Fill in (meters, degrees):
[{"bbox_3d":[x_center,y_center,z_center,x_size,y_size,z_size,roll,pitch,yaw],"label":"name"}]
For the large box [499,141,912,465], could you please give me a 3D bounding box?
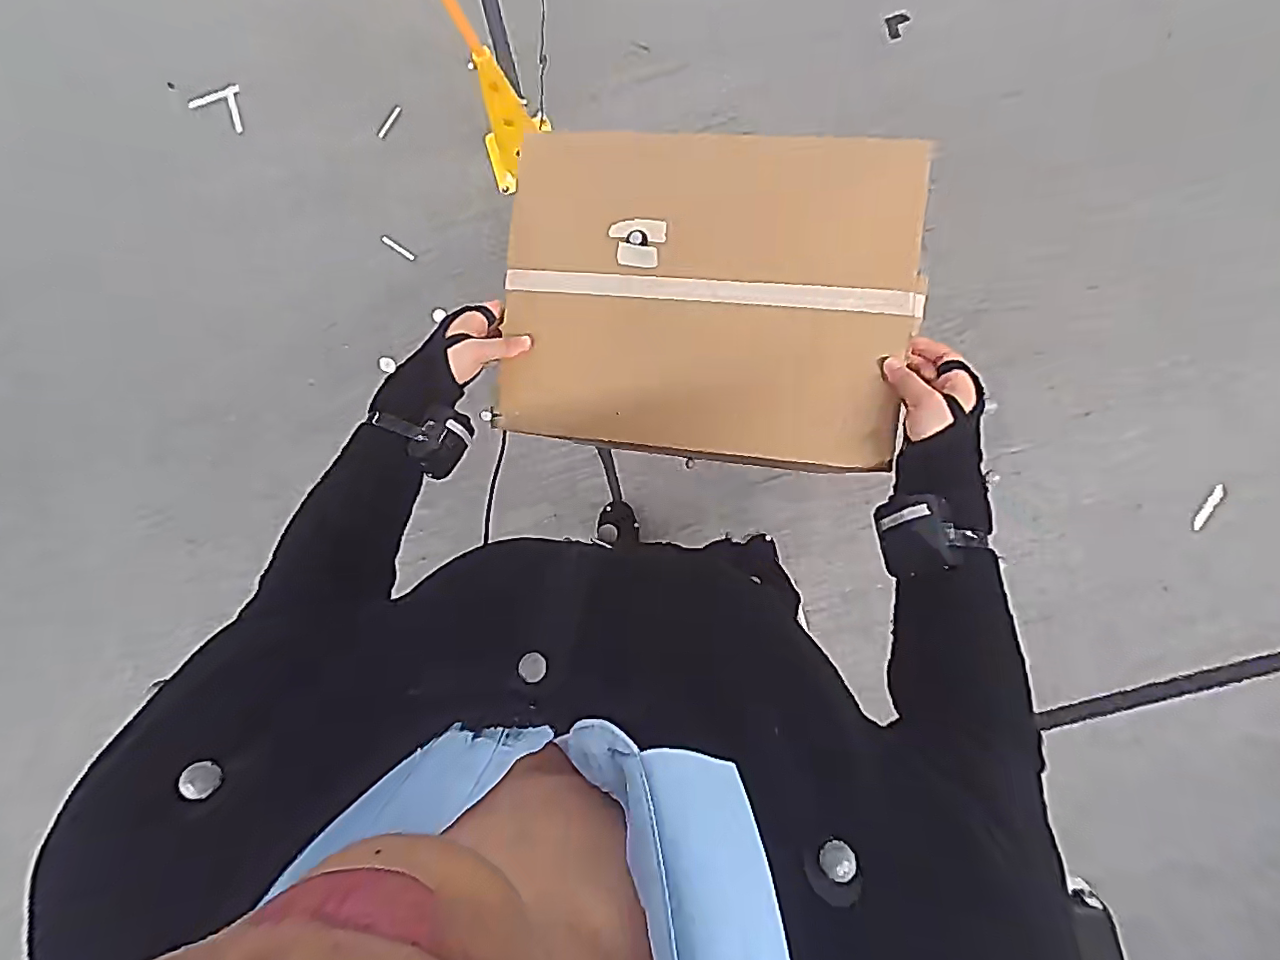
[{"bbox_3d":[0.081,-0.188,0.696,0.408,0.320,0.320,6,90,10],"label":"large box"}]
